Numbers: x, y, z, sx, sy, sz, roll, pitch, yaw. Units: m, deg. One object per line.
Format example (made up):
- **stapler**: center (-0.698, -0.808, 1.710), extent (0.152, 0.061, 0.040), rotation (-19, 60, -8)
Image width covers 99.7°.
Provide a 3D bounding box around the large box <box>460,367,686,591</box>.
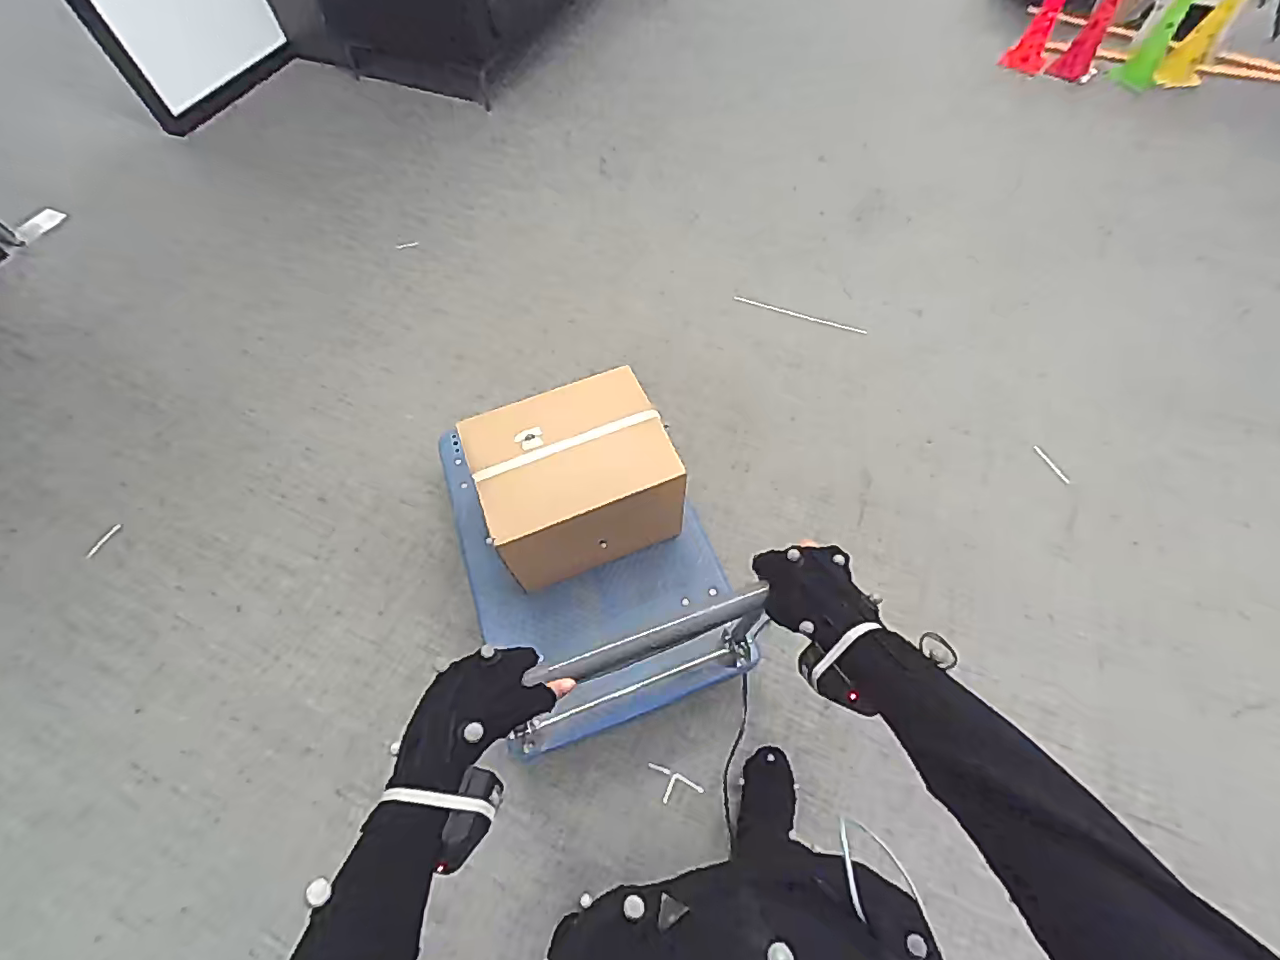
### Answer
- **large box**: center (-0.141, 0.007, 1.255), extent (0.408, 0.320, 0.320), rotation (-22, 62, -10)
